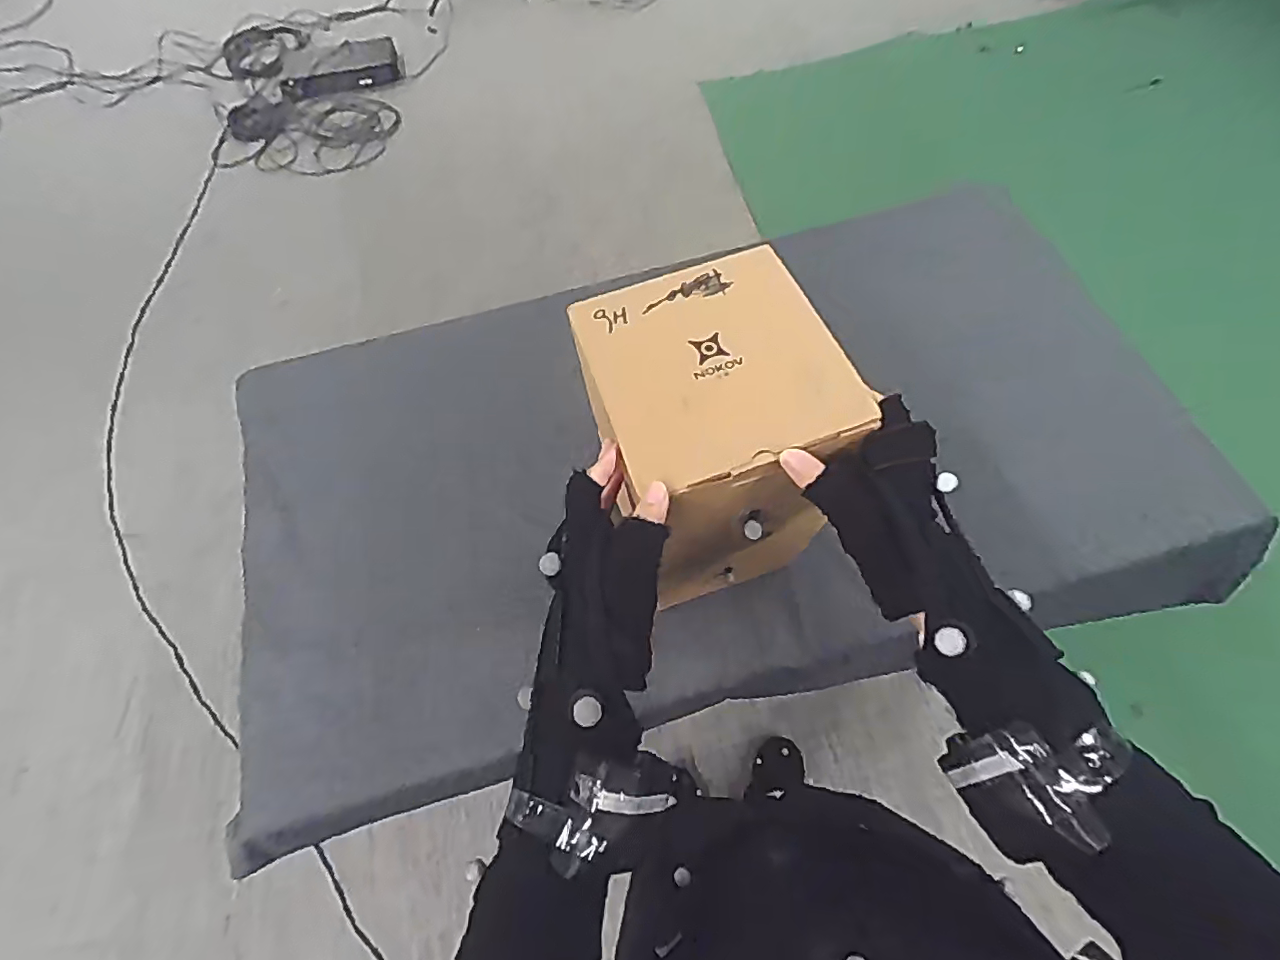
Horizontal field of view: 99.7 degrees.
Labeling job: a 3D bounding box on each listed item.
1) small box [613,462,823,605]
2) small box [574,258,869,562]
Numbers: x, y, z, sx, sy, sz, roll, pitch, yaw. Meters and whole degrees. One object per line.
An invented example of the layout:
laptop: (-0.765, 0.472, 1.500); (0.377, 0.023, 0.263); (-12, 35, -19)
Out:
small box: (0.072, 0.025, 0.608); (0.179, 0.176, 0.168); (-18, 66, -4)
small box: (0.057, -0.044, 0.458); (0.168, 0.176, 0.179); (-18, 65, -5)
